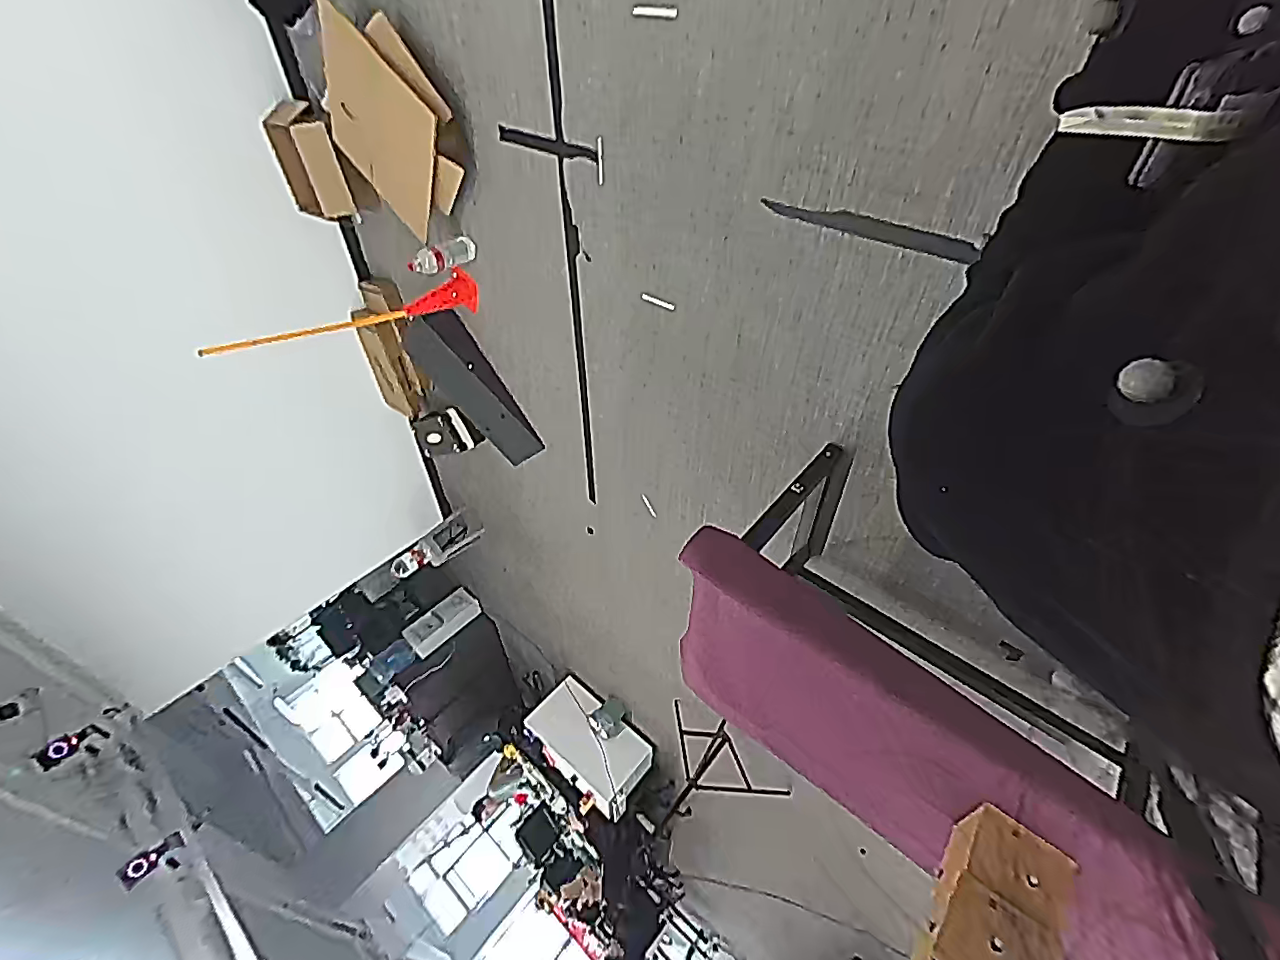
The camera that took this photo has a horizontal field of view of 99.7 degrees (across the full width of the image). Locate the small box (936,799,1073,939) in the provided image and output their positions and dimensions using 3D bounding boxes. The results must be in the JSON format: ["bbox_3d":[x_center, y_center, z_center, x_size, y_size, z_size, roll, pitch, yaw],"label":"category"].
[{"bbox_3d":[0.740,0.793,1.098,0.168,0.176,0.179,30,142,29],"label":"small box"}]

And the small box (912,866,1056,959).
[{"bbox_3d":[0.631,0.862,0.995,0.168,0.176,0.179,27,139,32],"label":"small box"}]
